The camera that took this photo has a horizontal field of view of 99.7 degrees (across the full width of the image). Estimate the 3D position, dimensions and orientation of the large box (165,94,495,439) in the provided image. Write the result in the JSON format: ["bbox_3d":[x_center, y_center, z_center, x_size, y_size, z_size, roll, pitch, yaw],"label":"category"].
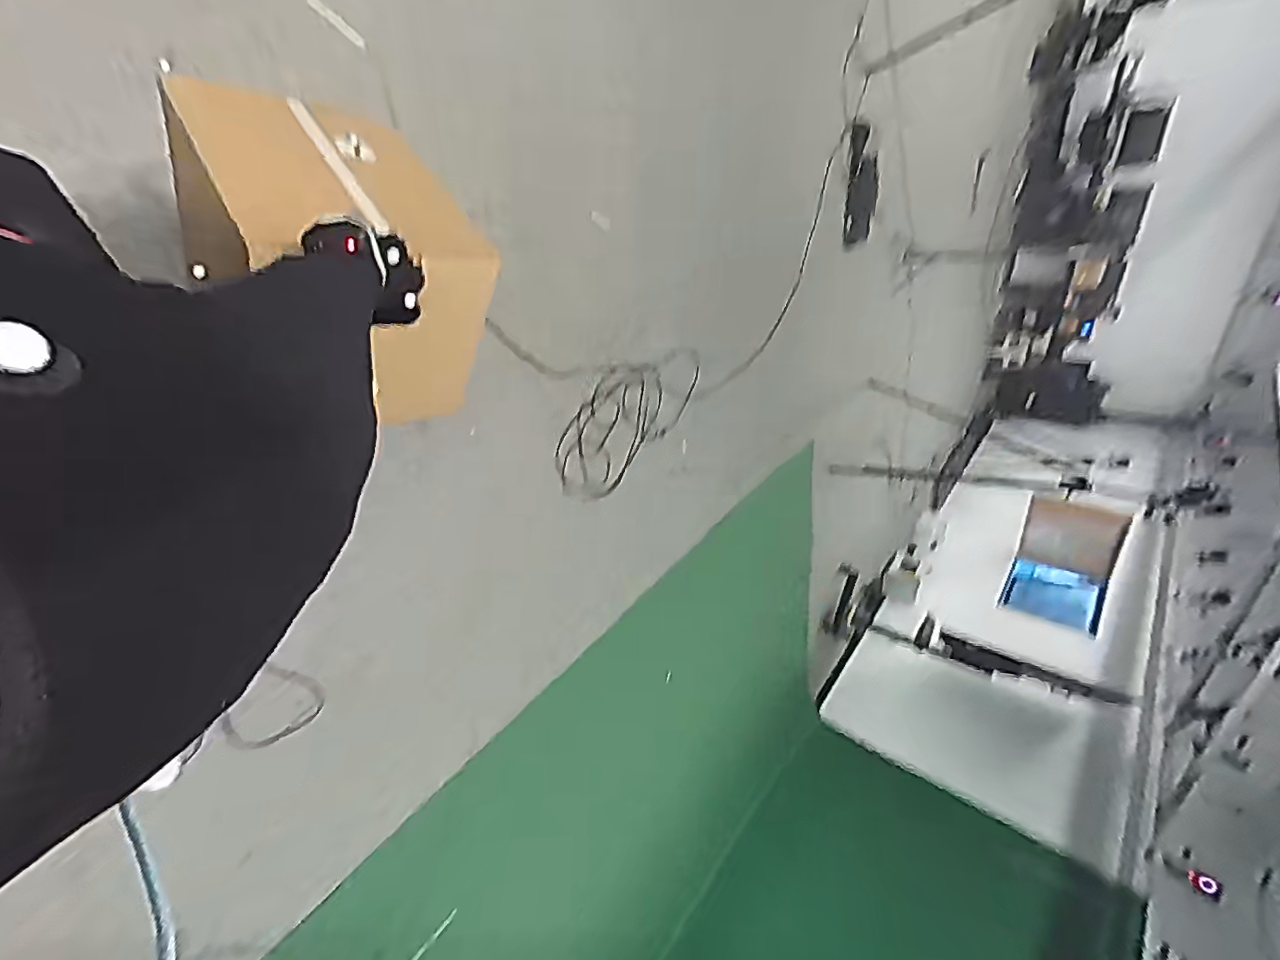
[{"bbox_3d":[-0.494,-0.327,0.869,0.320,0.408,0.320,-16,148,-43],"label":"large box"}]
